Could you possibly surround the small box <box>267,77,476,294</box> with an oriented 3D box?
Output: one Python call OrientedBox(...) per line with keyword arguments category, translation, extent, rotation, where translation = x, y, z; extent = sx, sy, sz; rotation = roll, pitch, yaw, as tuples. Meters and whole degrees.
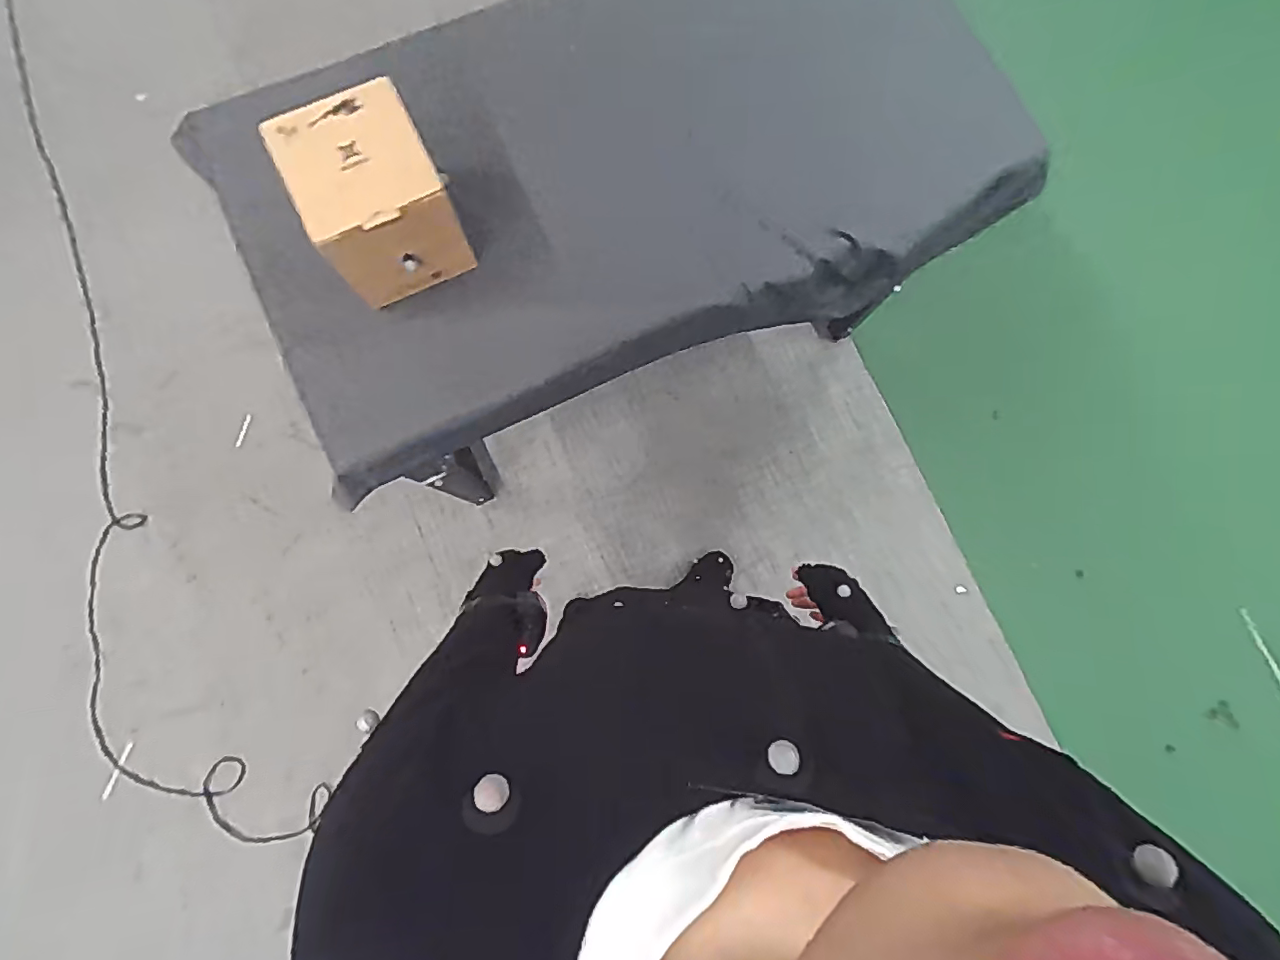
OrientedBox(category="small box", translation=(-0.346, -0.379, 0.733), extent=(0.168, 0.176, 0.179), rotation=(-26, 84, -6))
